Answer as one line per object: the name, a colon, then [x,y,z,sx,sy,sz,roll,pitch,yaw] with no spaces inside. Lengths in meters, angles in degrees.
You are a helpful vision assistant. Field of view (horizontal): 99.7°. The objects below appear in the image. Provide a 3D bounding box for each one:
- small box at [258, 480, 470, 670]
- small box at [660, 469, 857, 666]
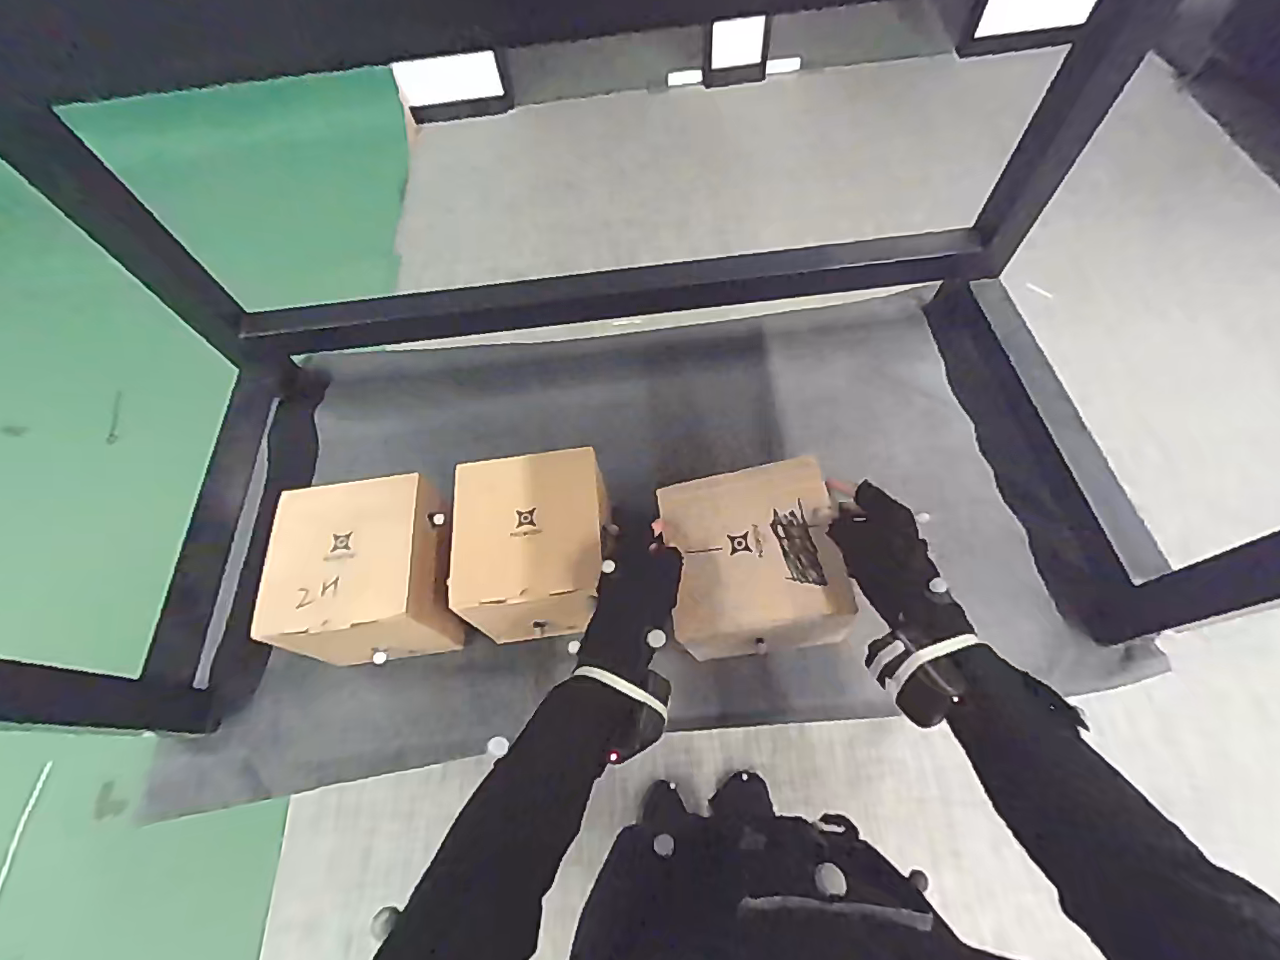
small box: [-0.320,0.123,0.671,0.168,0.176,0.179,-8,61,0]
small box: [0.130,0.109,0.623,0.179,0.176,0.168,-12,60,10]
